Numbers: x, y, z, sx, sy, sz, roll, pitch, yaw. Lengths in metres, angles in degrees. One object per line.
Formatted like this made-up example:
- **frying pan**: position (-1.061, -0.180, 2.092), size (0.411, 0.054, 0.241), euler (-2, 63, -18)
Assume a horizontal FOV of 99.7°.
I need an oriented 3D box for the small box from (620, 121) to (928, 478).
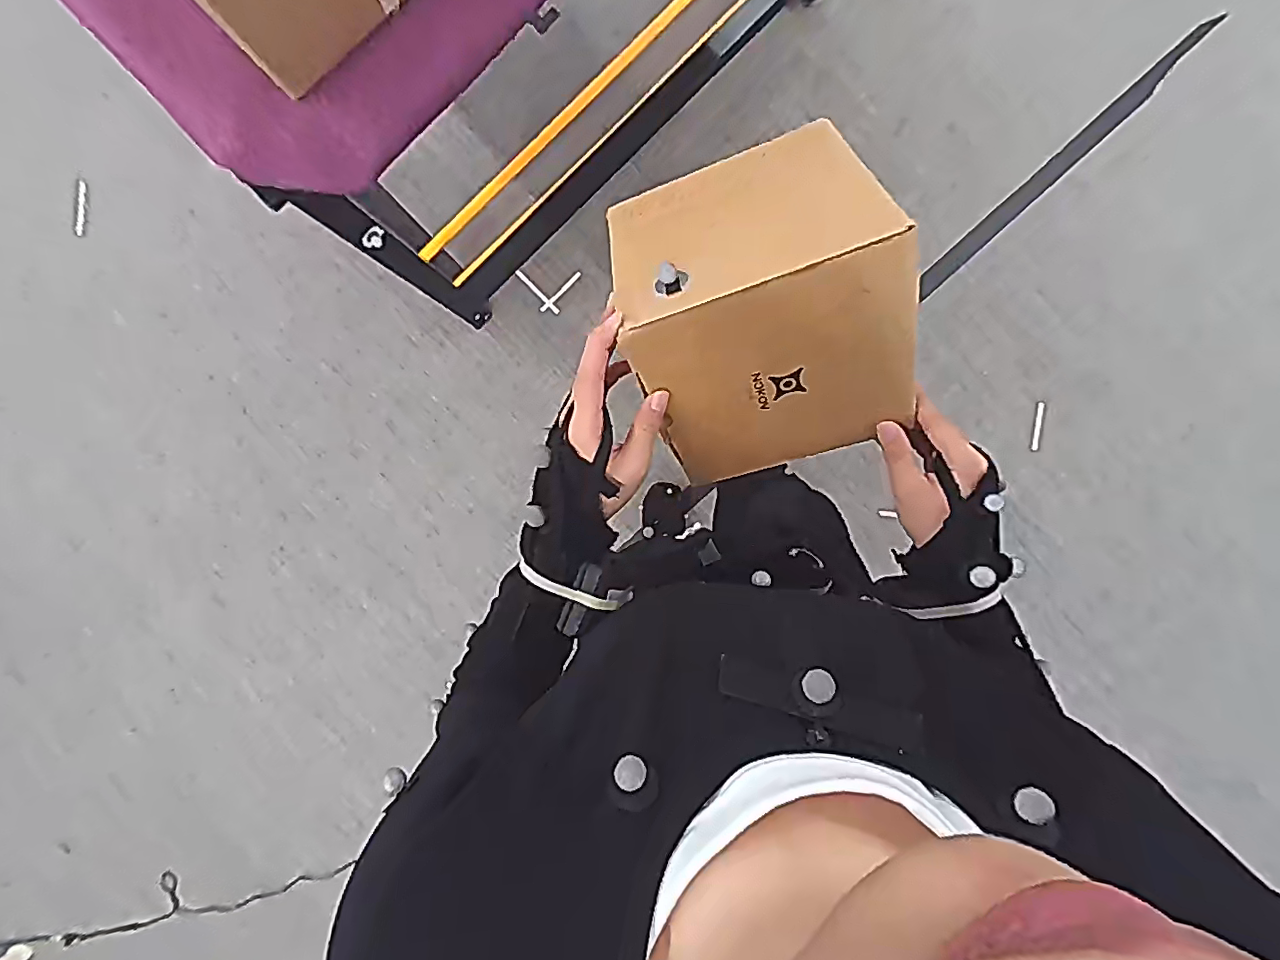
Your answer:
- **small box**: position (0.093, -0.132, 0.412), size (0.179, 0.168, 0.176), euler (-15, 50, 15)
